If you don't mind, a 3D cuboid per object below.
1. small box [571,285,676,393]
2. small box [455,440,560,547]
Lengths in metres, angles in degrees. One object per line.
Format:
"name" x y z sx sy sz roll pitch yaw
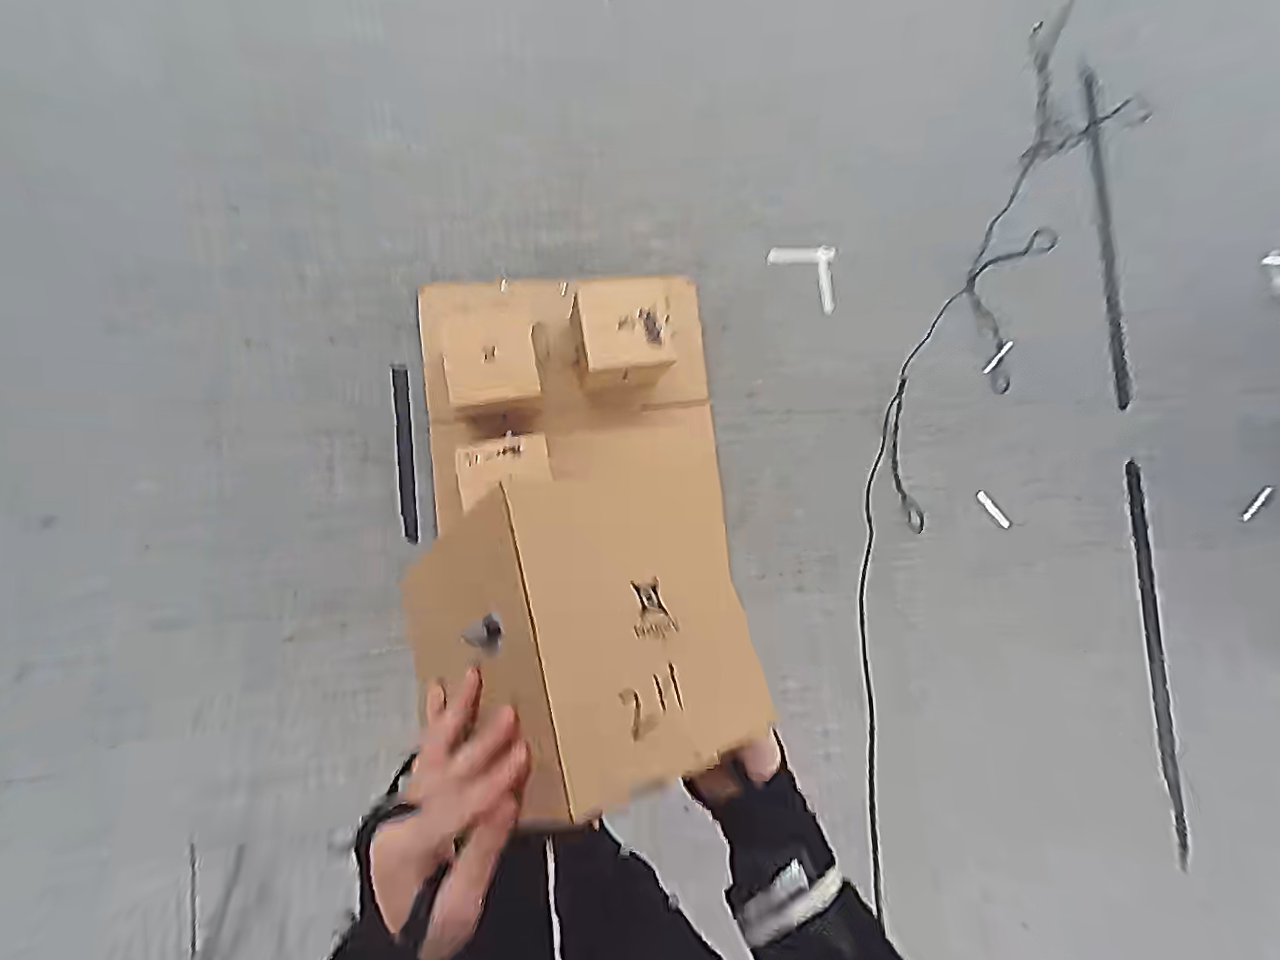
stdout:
"small box" -0.040 -0.286 1.121 0.179 0.176 0.168 -9 87 -11
"small box" -0.251 0.026 1.052 0.168 0.176 0.179 -10 88 -12
